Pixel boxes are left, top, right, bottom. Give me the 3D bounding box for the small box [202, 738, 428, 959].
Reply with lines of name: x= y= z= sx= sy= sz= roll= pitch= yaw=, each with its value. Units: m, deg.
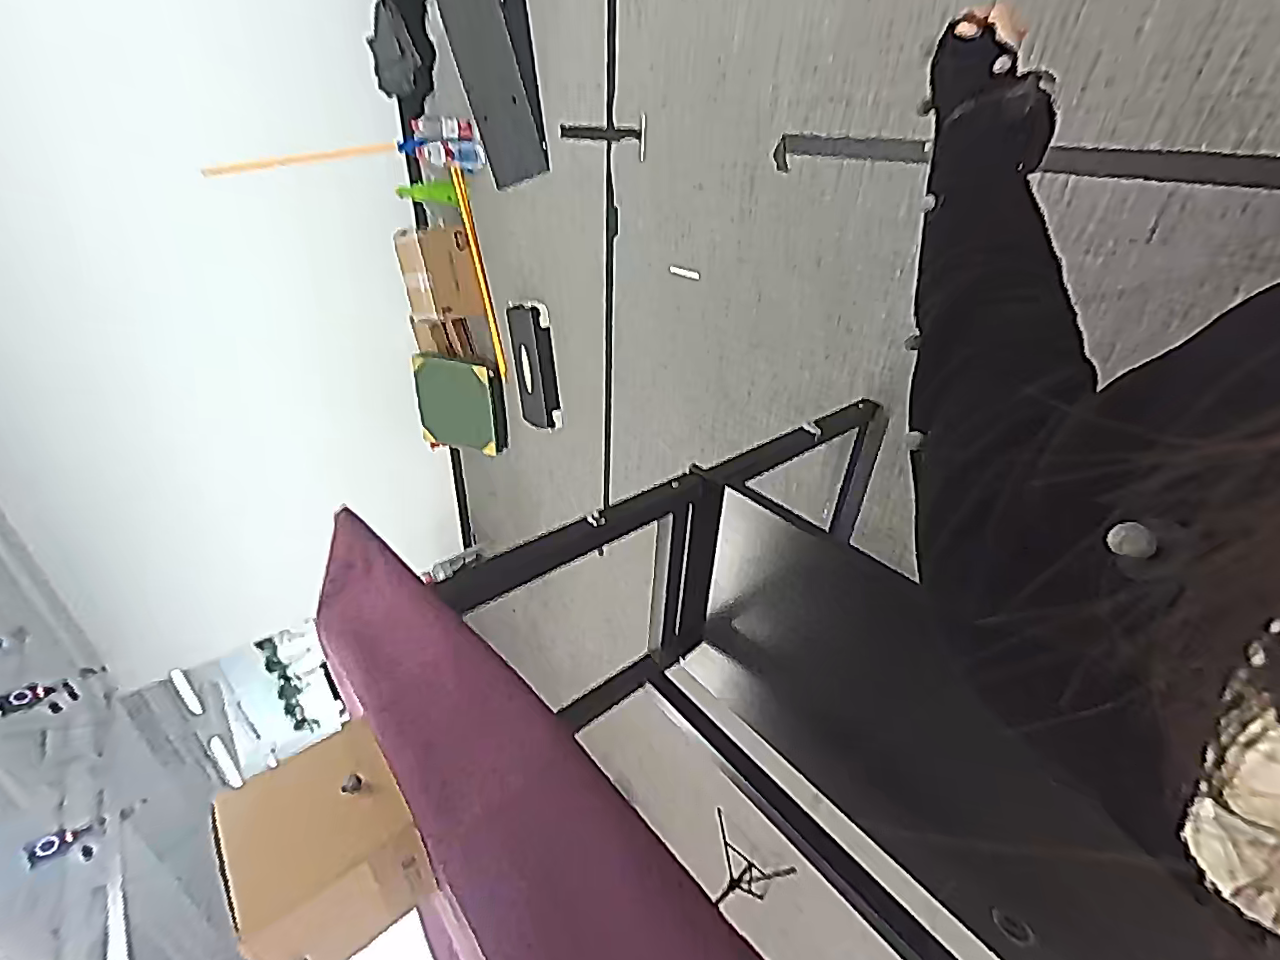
small box: x=-0.365 y=0.434 z=0.623 sx=0.179 sy=0.176 sz=0.168 roll=32 pitch=132 yaw=40
